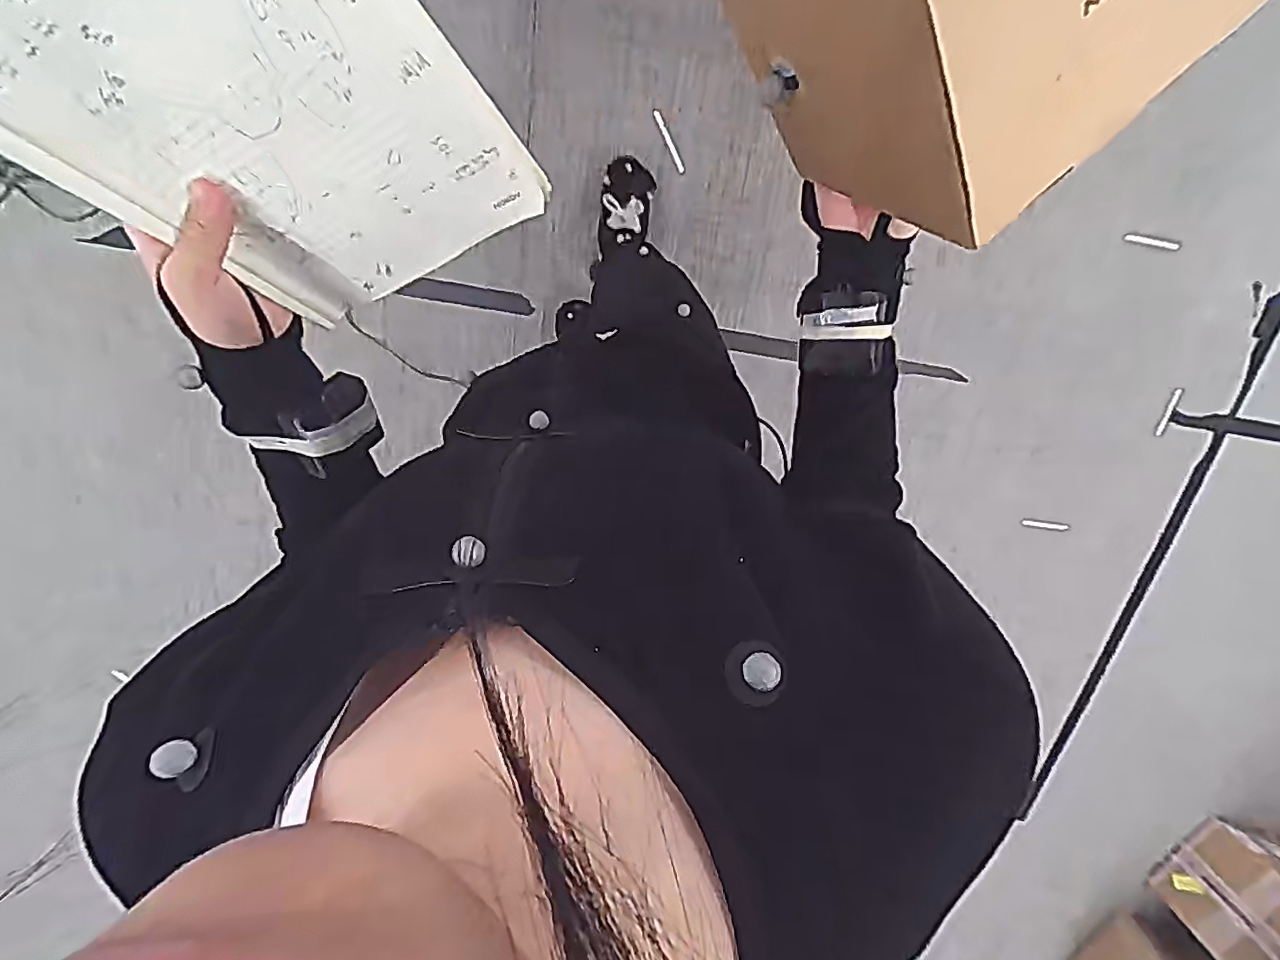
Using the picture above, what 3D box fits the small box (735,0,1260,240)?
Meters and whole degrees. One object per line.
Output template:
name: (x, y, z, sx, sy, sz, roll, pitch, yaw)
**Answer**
small box: (0.162, -0.267, 0.268, 0.168, 0.176, 0.179, -42, 138, 12)
